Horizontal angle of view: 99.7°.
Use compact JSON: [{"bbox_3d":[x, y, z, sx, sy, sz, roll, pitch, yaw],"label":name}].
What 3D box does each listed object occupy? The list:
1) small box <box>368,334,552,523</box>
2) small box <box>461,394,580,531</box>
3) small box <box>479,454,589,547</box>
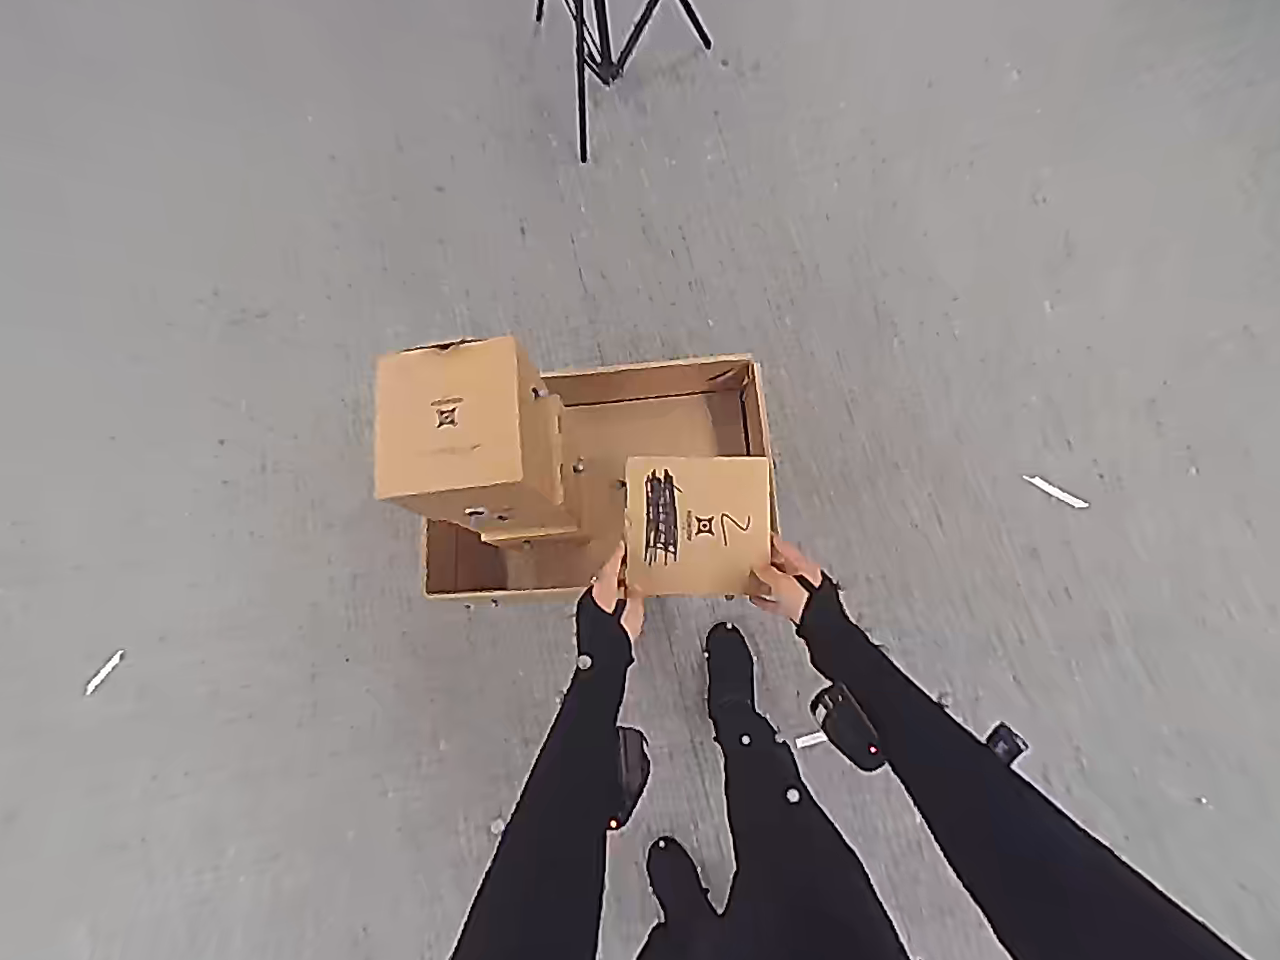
[{"bbox_3d":[-0.210,-0.053,0.668,0.168,0.176,0.179,-7,76,3],"label":"small box"},{"bbox_3d":[-0.195,-0.018,0.827,0.179,0.176,0.168,-5,77,2],"label":"small box"},{"bbox_3d":[-0.188,0.027,0.985,0.168,0.176,0.179,-6,76,2],"label":"small box"}]
